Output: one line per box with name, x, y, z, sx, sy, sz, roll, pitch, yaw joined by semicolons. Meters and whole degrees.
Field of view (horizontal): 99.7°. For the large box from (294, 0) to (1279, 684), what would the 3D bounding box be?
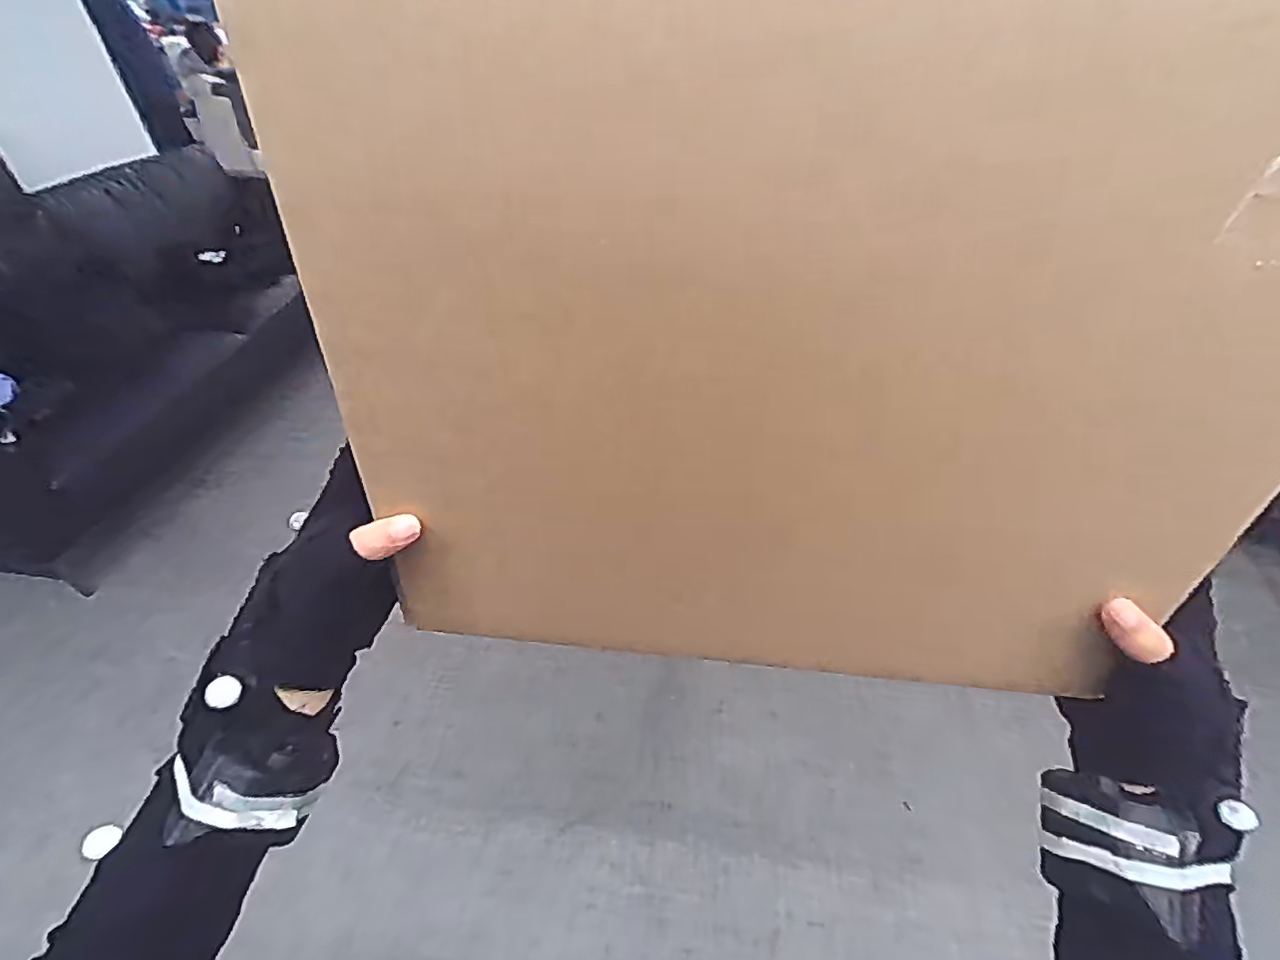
large box;0.087;-0.102;0.358;0.408;0.320;0.320;6;35;2
